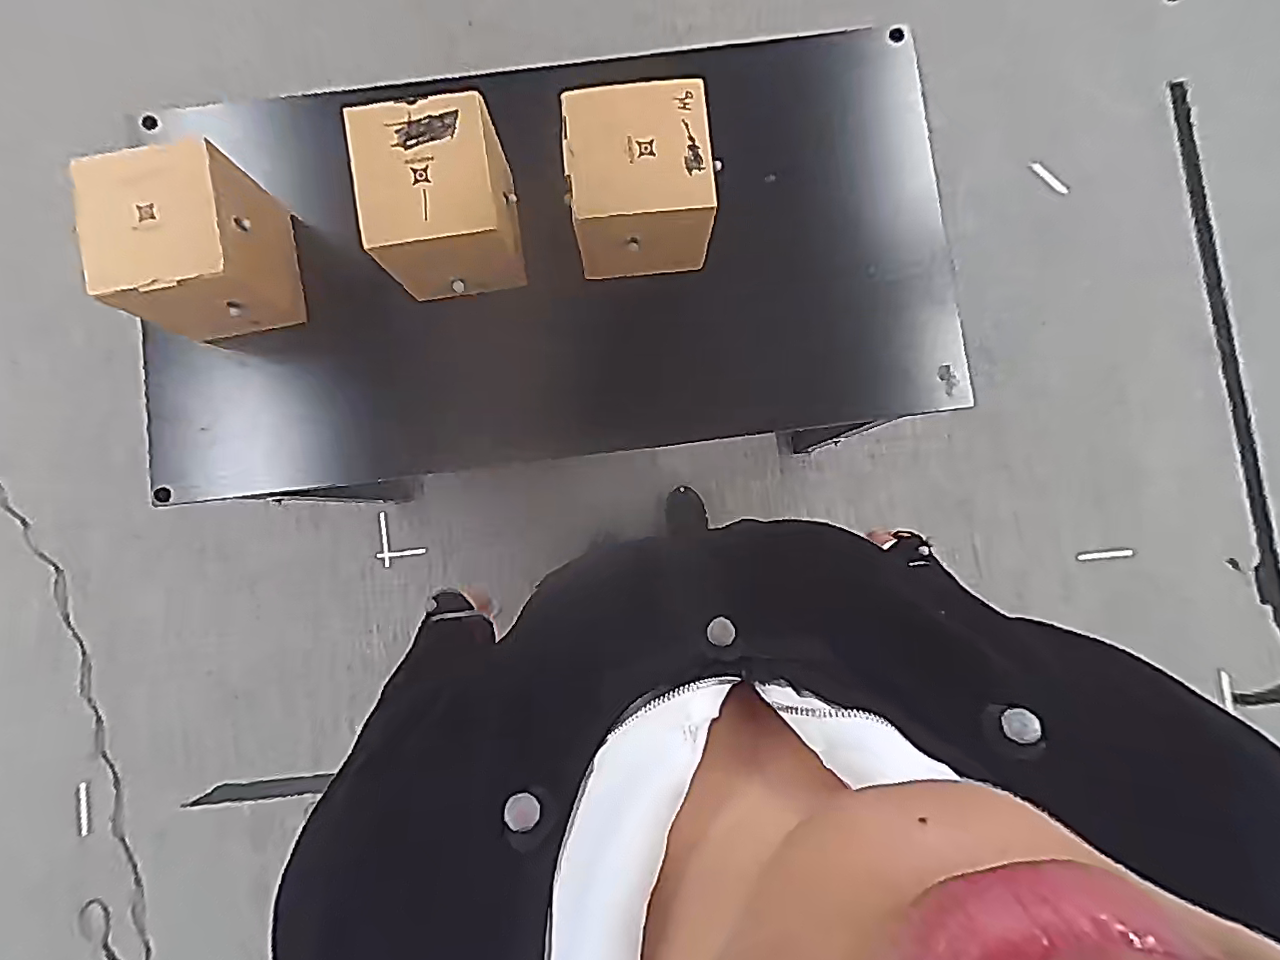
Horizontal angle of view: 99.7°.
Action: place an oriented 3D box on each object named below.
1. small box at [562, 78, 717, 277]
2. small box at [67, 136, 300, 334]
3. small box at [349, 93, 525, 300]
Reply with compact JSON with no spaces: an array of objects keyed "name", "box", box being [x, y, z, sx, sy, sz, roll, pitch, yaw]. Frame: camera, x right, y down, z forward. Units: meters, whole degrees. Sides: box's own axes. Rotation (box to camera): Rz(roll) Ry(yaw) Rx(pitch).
[{"name":"small box","box":[0.001,-0.389,0.724,0.179,0.176,0.168,-6,86,0]},{"name":"small box","box":[-0.585,-0.307,0.718,0.168,0.176,0.179,-11,86,-2]},{"name":"small box","box":[-0.258,-0.365,0.721,0.168,0.176,0.179,-8,87,-1]}]
